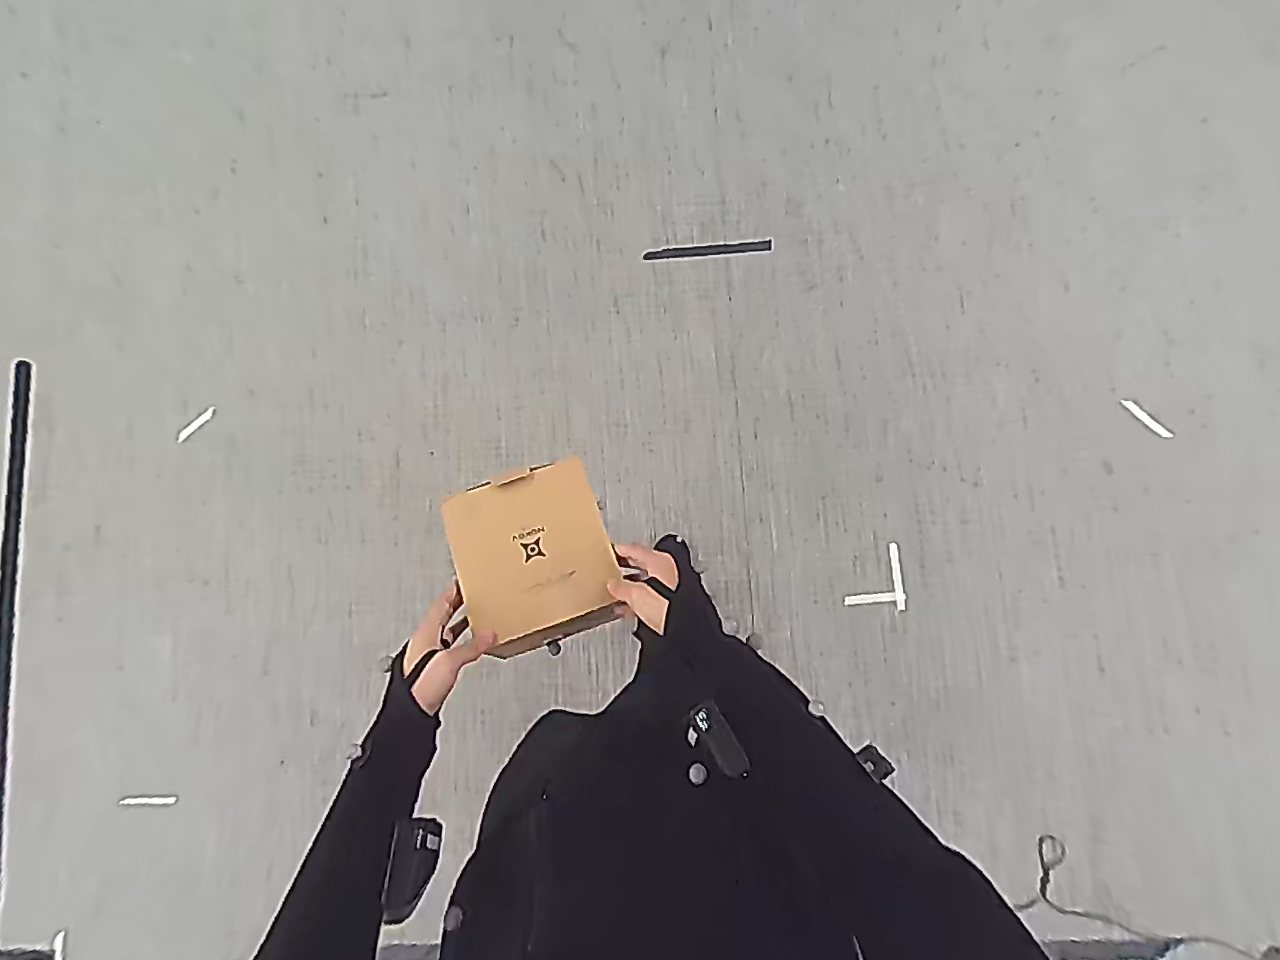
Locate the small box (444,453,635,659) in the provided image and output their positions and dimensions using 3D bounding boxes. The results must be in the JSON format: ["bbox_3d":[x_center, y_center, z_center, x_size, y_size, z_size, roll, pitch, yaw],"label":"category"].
[{"bbox_3d":[-0.113,0.097,0.641,0.168,0.176,0.179,-18,70,-10],"label":"small box"}]
